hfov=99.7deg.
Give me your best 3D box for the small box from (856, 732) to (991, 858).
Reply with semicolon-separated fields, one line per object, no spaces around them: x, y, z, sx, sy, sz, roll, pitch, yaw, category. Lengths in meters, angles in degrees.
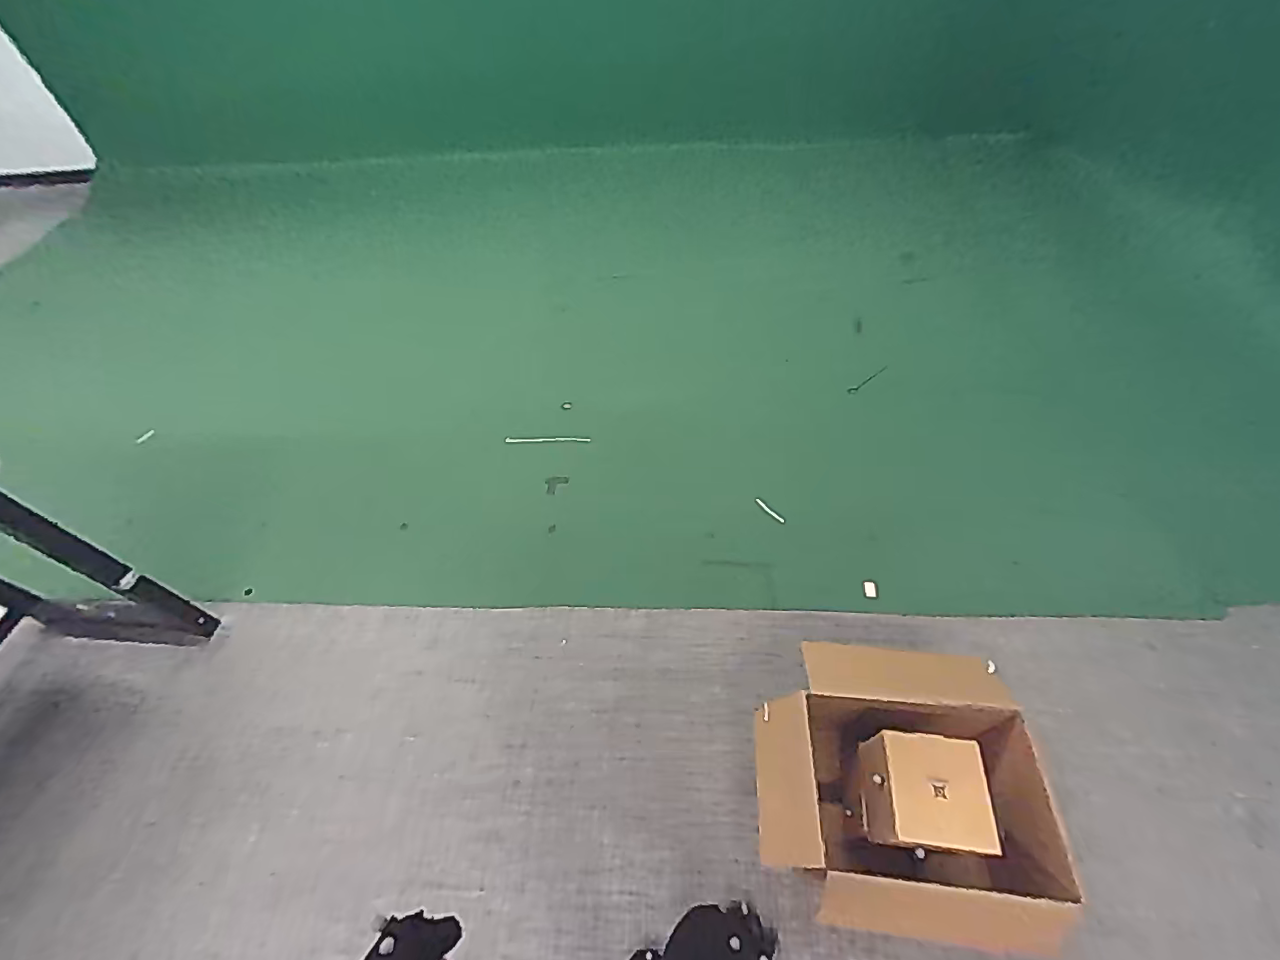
0.518;0.596;1.017;0.168;0.176;0.179;4;53;6;small box
